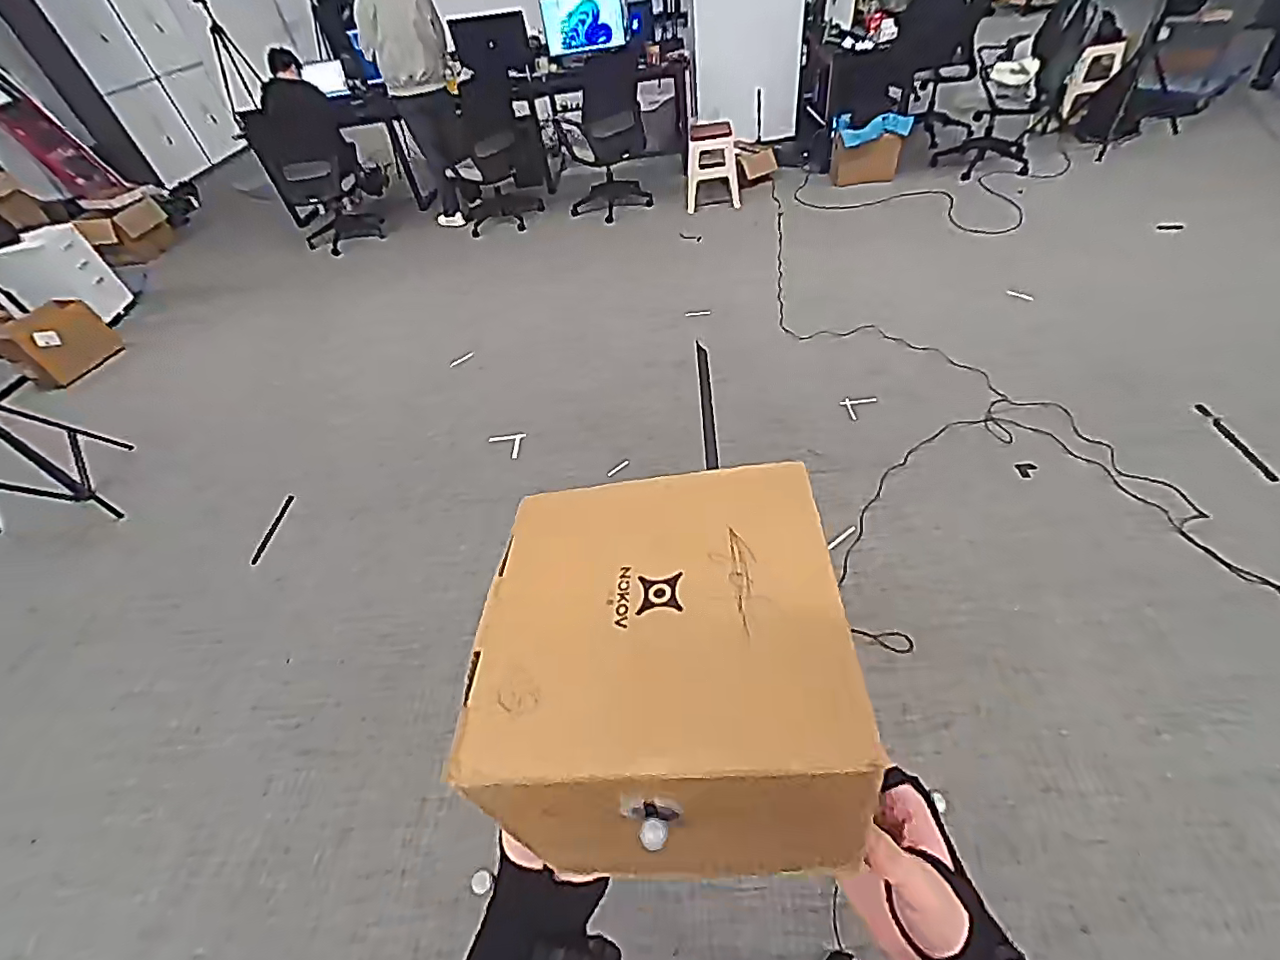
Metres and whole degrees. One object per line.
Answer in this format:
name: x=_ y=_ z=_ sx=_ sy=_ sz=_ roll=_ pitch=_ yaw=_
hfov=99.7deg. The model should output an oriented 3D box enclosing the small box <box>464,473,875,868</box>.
small box: x=0.026 y=0.121 z=0.329 sx=0.179 sy=0.176 sz=0.168 roll=-8 pitch=43 yaw=9
